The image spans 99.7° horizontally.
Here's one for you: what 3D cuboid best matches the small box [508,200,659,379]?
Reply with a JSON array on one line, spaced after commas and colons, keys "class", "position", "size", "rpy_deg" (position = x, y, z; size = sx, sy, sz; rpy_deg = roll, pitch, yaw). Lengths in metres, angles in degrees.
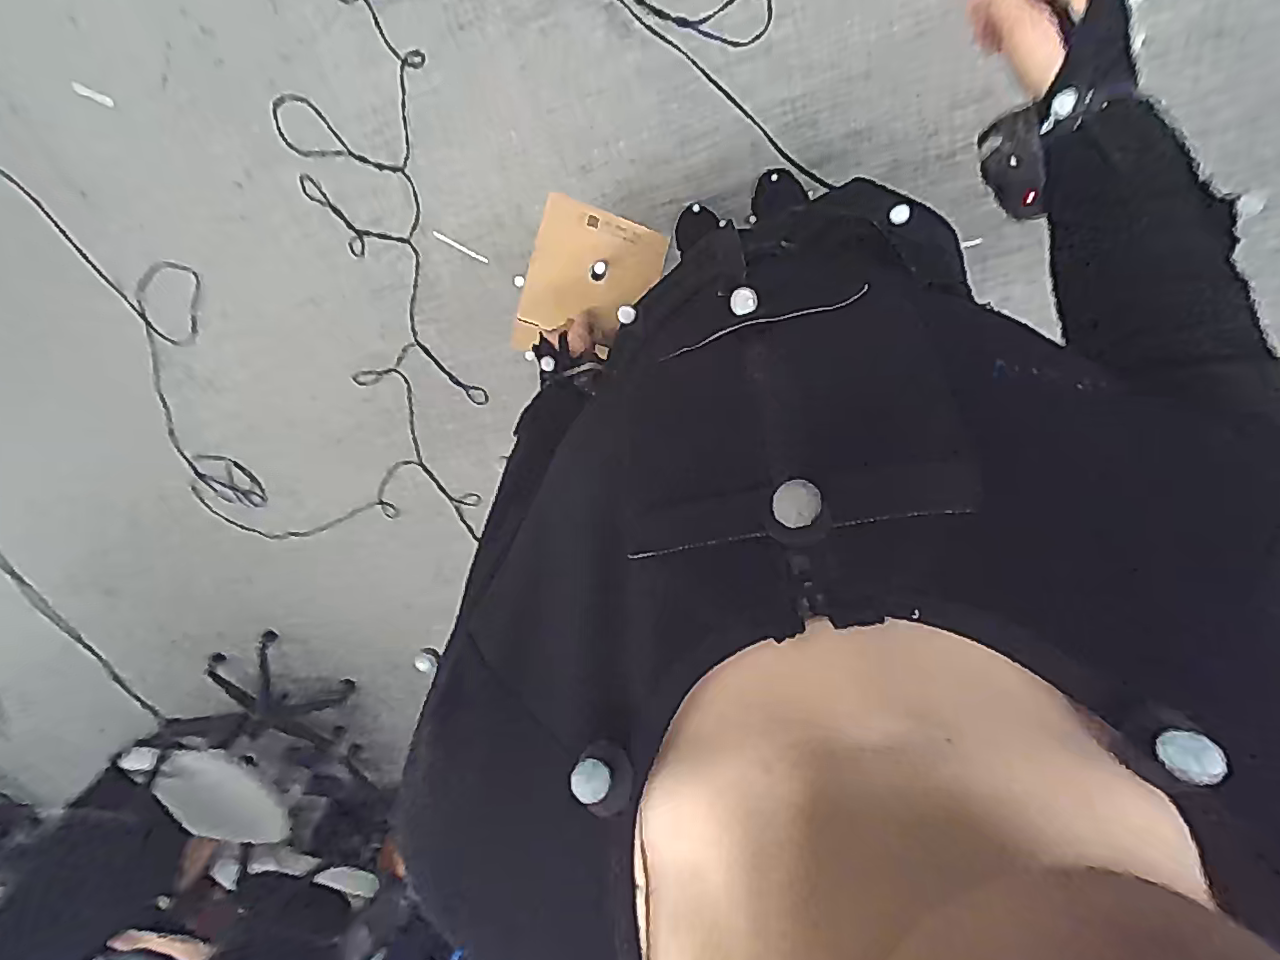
[{"class": "small box", "position": [-0.082, -0.258, 0.764], "size": [0.168, 0.179, 0.176], "rpy_deg": [14, 87, -16]}]
